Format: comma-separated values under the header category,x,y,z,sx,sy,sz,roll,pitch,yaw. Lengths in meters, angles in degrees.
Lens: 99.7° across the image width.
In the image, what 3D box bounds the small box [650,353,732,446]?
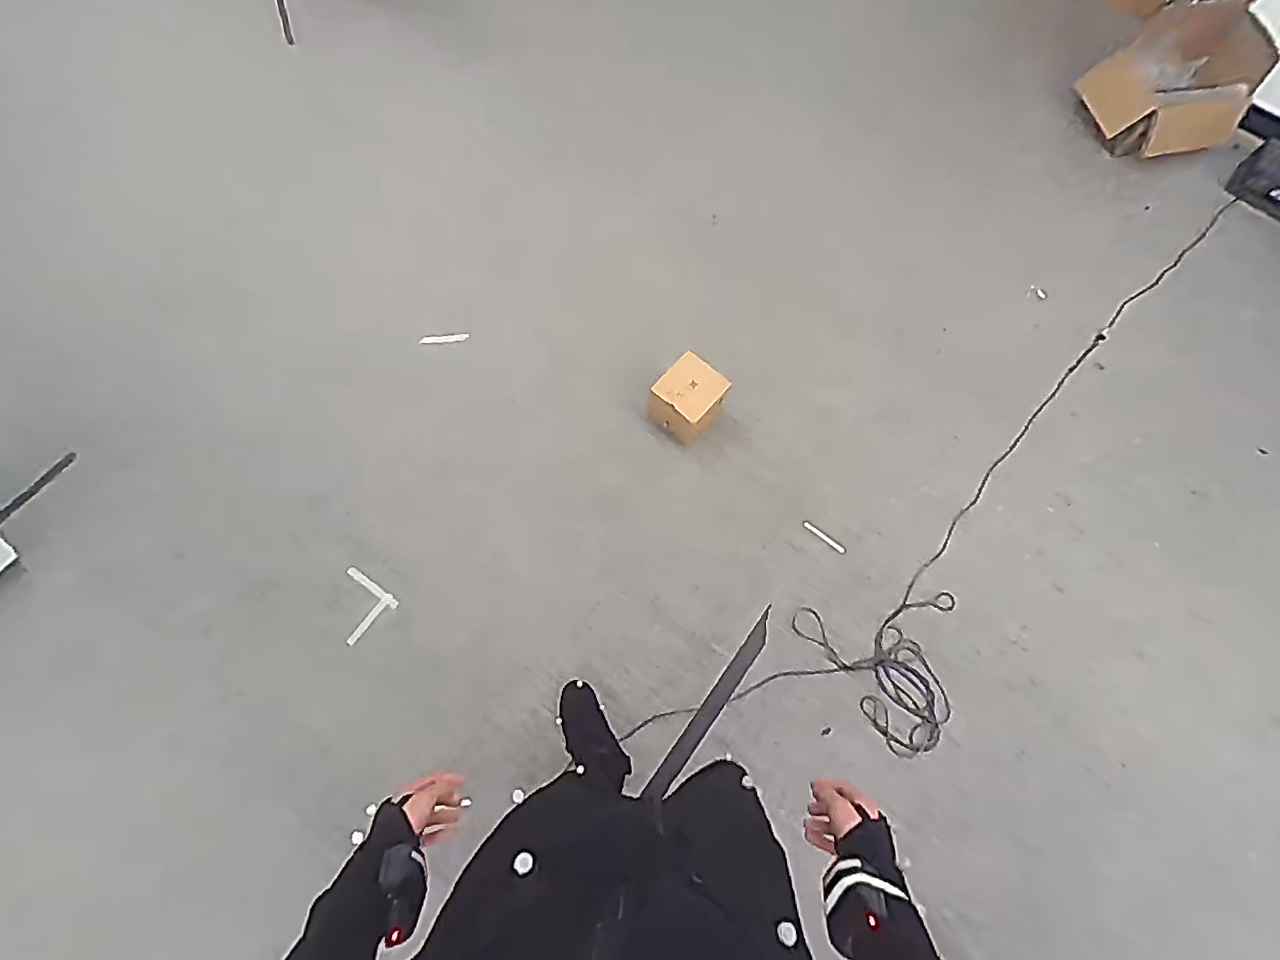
category,x,y,z,sx,sy,sz,roll,pitch,yaw
small box,0.143,-0.233,1.606,0.168,0.176,0.179,40,74,10
